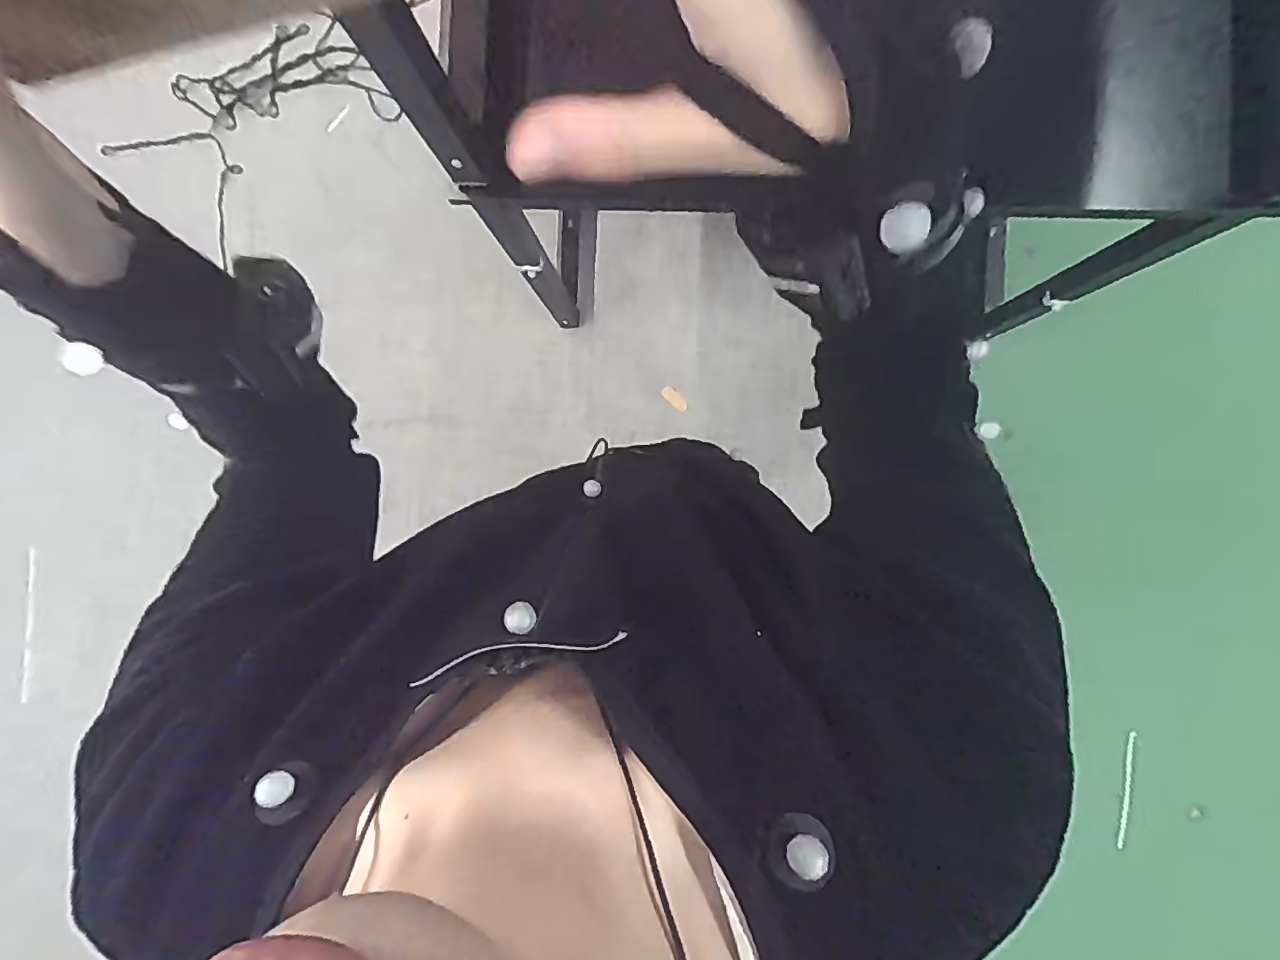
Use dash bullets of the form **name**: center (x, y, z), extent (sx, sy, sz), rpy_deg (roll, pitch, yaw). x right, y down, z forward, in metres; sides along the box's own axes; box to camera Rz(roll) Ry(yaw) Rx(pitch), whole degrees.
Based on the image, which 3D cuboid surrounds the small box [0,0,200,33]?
- **small box**: center (-0.134, -0.196, 0.067), extent (0.168, 0.176, 0.179), rpy_deg (-11, 110, 2)
